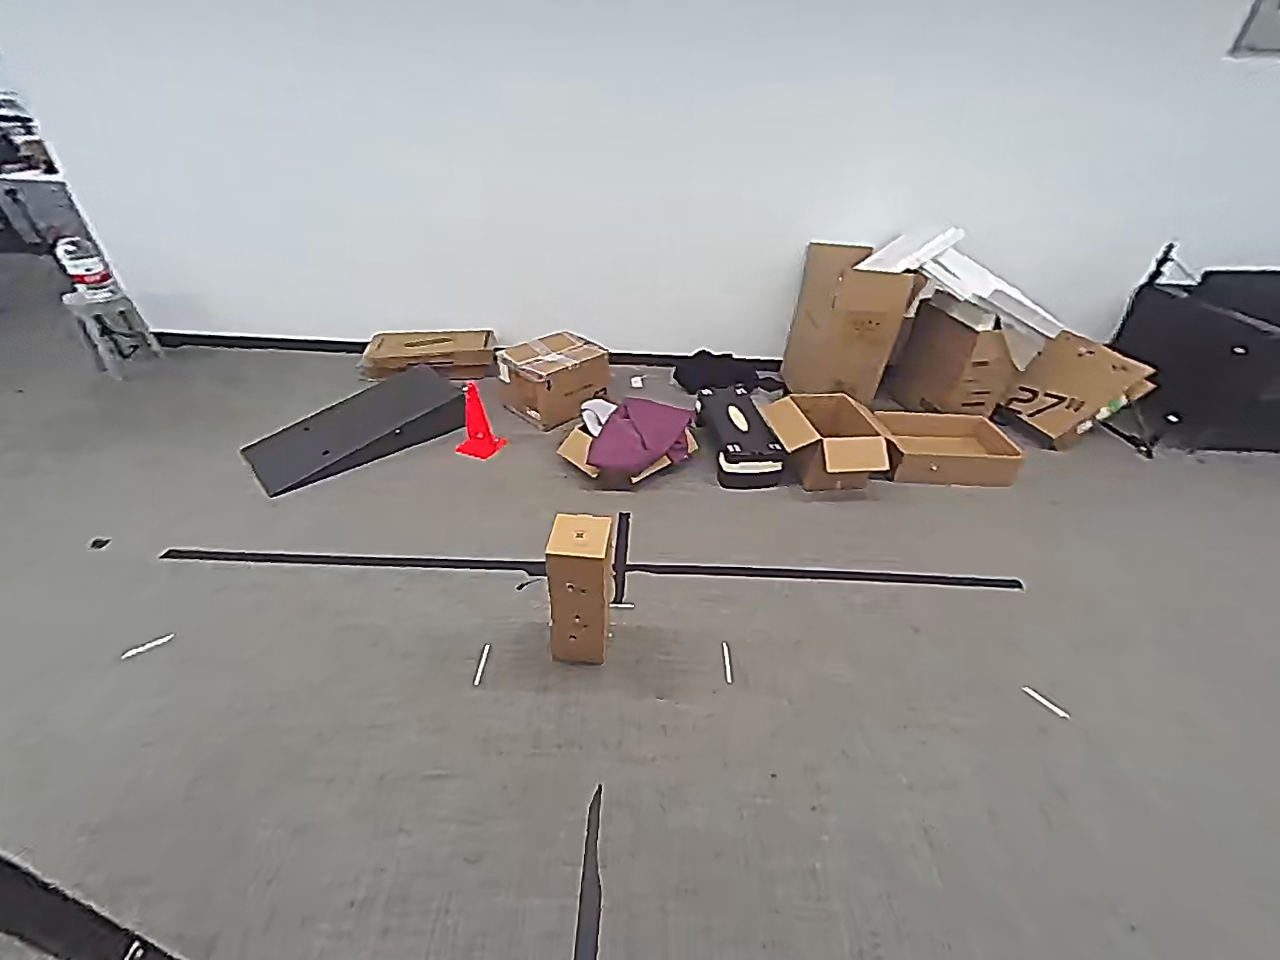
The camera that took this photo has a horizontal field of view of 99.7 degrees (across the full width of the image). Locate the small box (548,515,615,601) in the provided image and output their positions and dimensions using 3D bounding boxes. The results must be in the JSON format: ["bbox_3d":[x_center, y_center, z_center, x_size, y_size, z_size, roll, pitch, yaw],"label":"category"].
[{"bbox_3d":[-0.167,0.227,1.585,0.168,0.176,0.179,4,37,3],"label":"small box"}]

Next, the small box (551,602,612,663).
[{"bbox_3d":[-0.190,0.485,1.785,0.179,0.176,0.168,5,36,2],"label":"small box"}]

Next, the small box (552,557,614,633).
[{"bbox_3d":[-0.175,0.350,1.692,0.168,0.176,0.179,5,37,2],"label":"small box"}]
